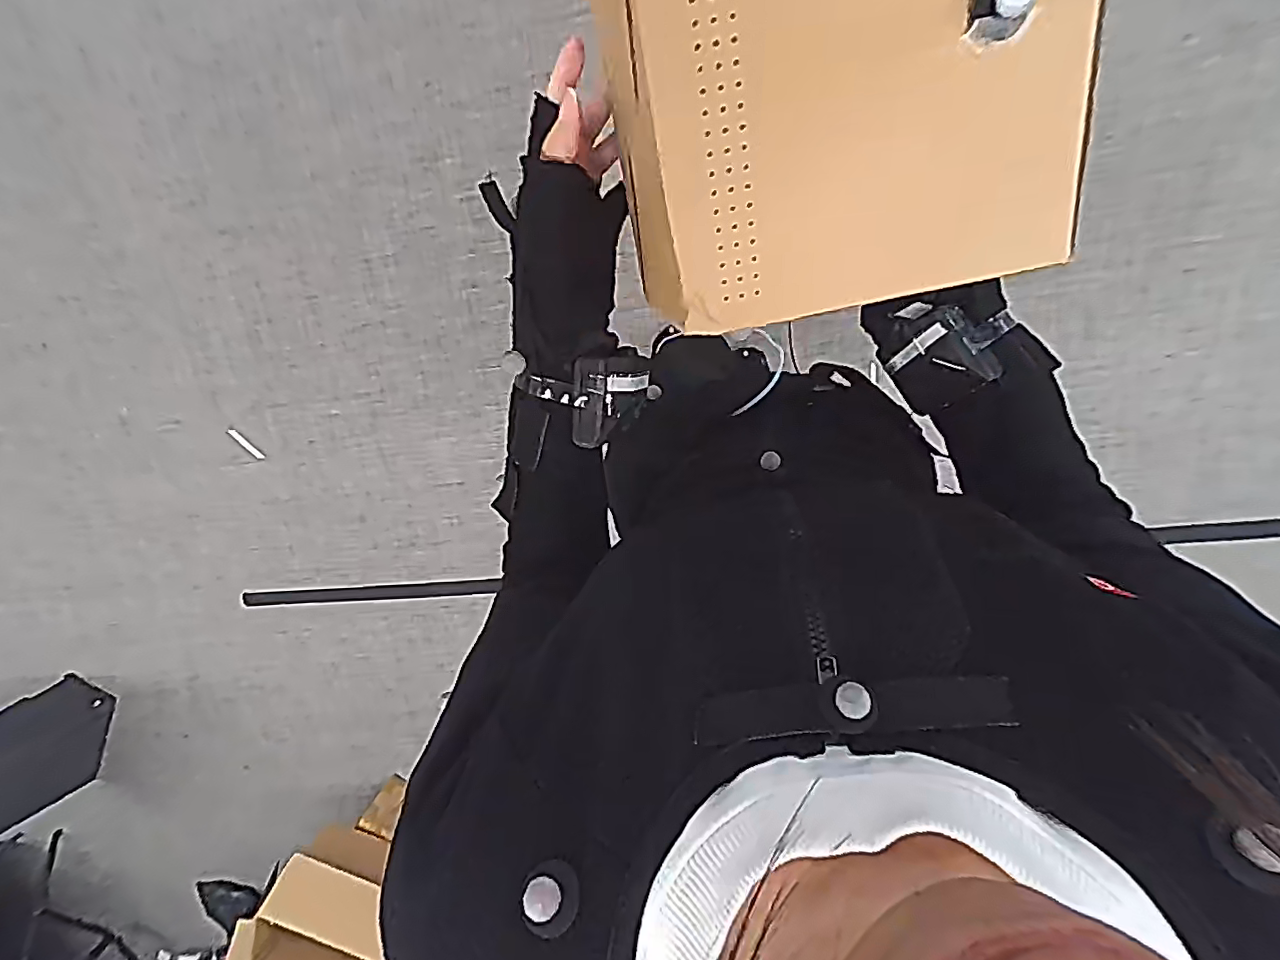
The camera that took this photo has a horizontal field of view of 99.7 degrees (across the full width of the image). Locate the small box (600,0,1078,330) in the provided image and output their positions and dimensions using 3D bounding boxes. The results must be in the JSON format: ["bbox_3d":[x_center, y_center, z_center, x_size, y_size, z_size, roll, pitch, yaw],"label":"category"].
[{"bbox_3d":[0.073,-0.189,0.273,0.176,0.168,0.179,-11,114,0],"label":"small box"}]
